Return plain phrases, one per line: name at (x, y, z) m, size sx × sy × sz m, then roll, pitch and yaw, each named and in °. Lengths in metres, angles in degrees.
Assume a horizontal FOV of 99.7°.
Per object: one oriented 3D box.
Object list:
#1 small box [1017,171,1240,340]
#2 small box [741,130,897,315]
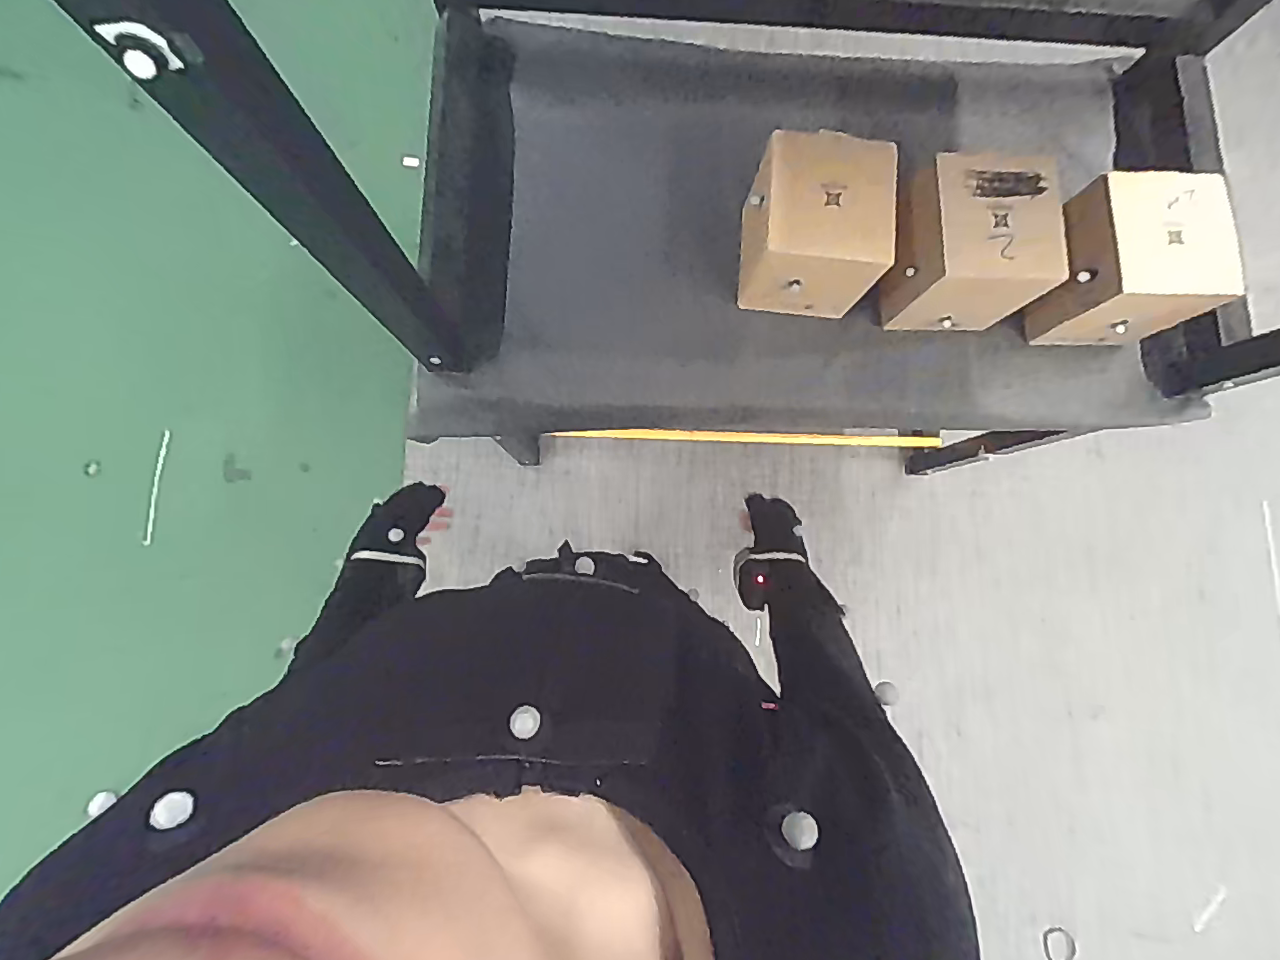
small box at (0.693, -0.314, 0.789) m, size 0.168 × 0.176 × 0.179 m, roll 0°, pitch 81°, yaw -3°
small box at (0.247, -0.356, 0.778) m, size 0.168 × 0.176 × 0.179 m, roll 5°, pitch 82°, yaw -2°
